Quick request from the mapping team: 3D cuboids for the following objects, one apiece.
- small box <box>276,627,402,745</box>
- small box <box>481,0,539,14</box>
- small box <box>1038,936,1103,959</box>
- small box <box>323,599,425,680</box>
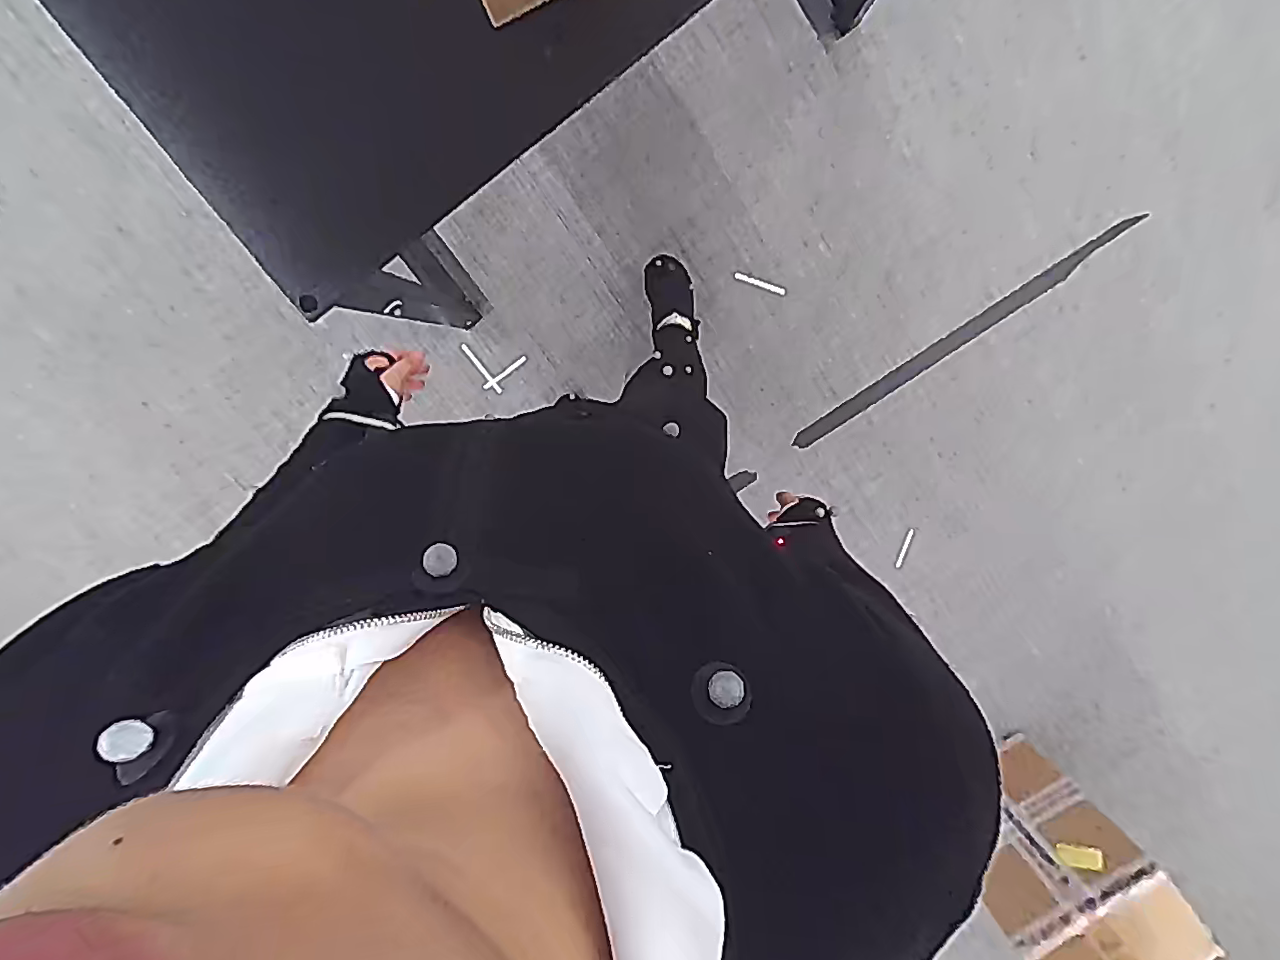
[{"bbox_3d":[-0.725,0.497,1.325,0.179,0.176,0.168,-30,103,3],"label":"small box"},{"bbox_3d":[-0.125,-0.609,0.523,0.168,0.176,0.179,-25,102,3],"label":"small box"},{"bbox_3d":[1.035,1.211,1.232,0.179,0.176,0.168,-41,98,7],"label":"small box"},{"bbox_3d":[-0.728,0.462,1.485,0.168,0.176,0.179,-34,103,5],"label":"small box"}]
